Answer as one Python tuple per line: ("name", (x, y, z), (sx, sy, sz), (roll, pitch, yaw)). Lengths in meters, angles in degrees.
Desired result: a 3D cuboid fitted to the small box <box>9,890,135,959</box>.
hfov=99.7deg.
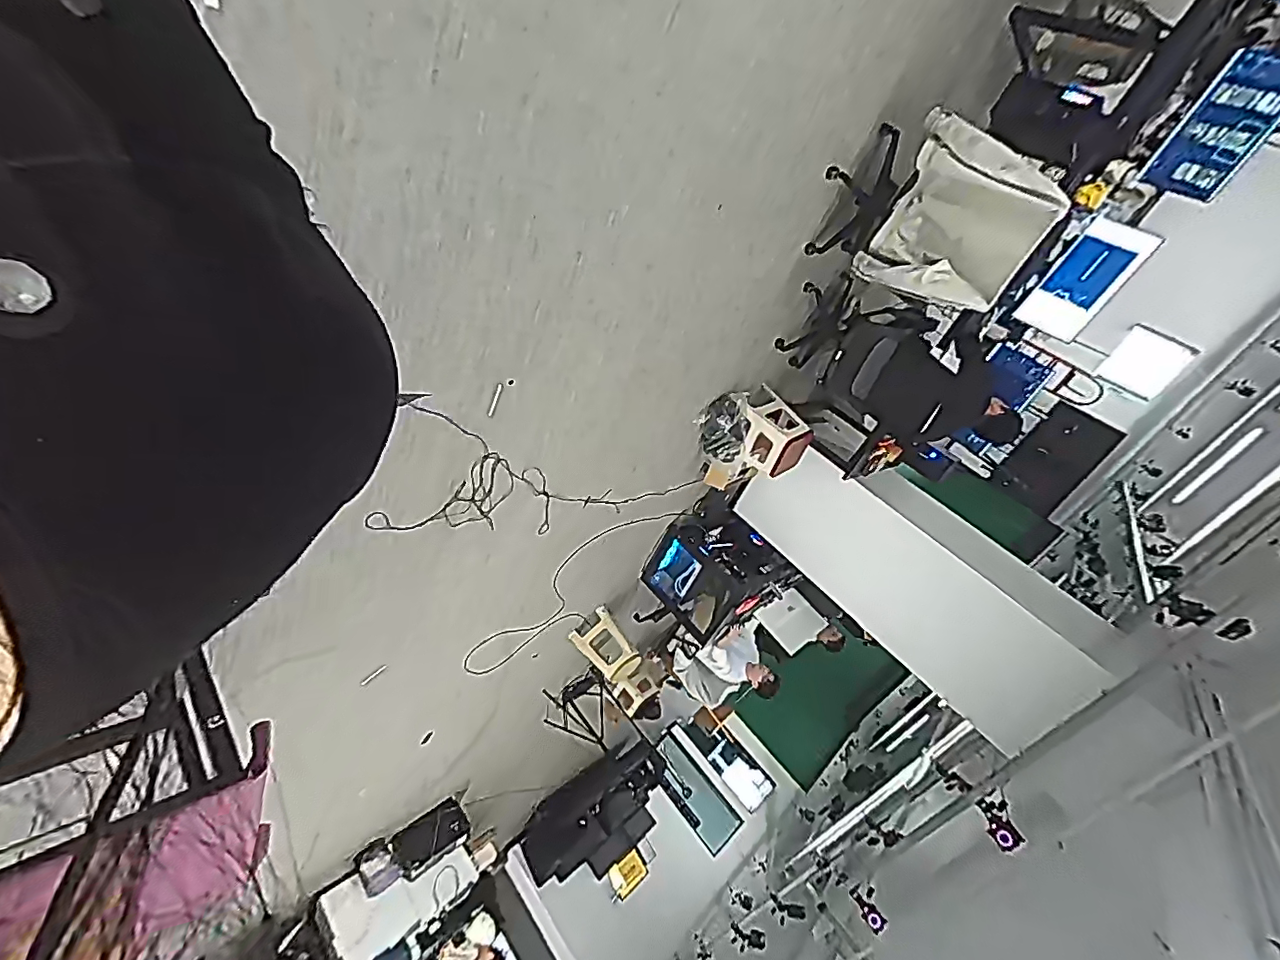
("small box", (-1.191, 1.021, 1.138), (0.168, 0.176, 0.179), (-8, 134, -50))
